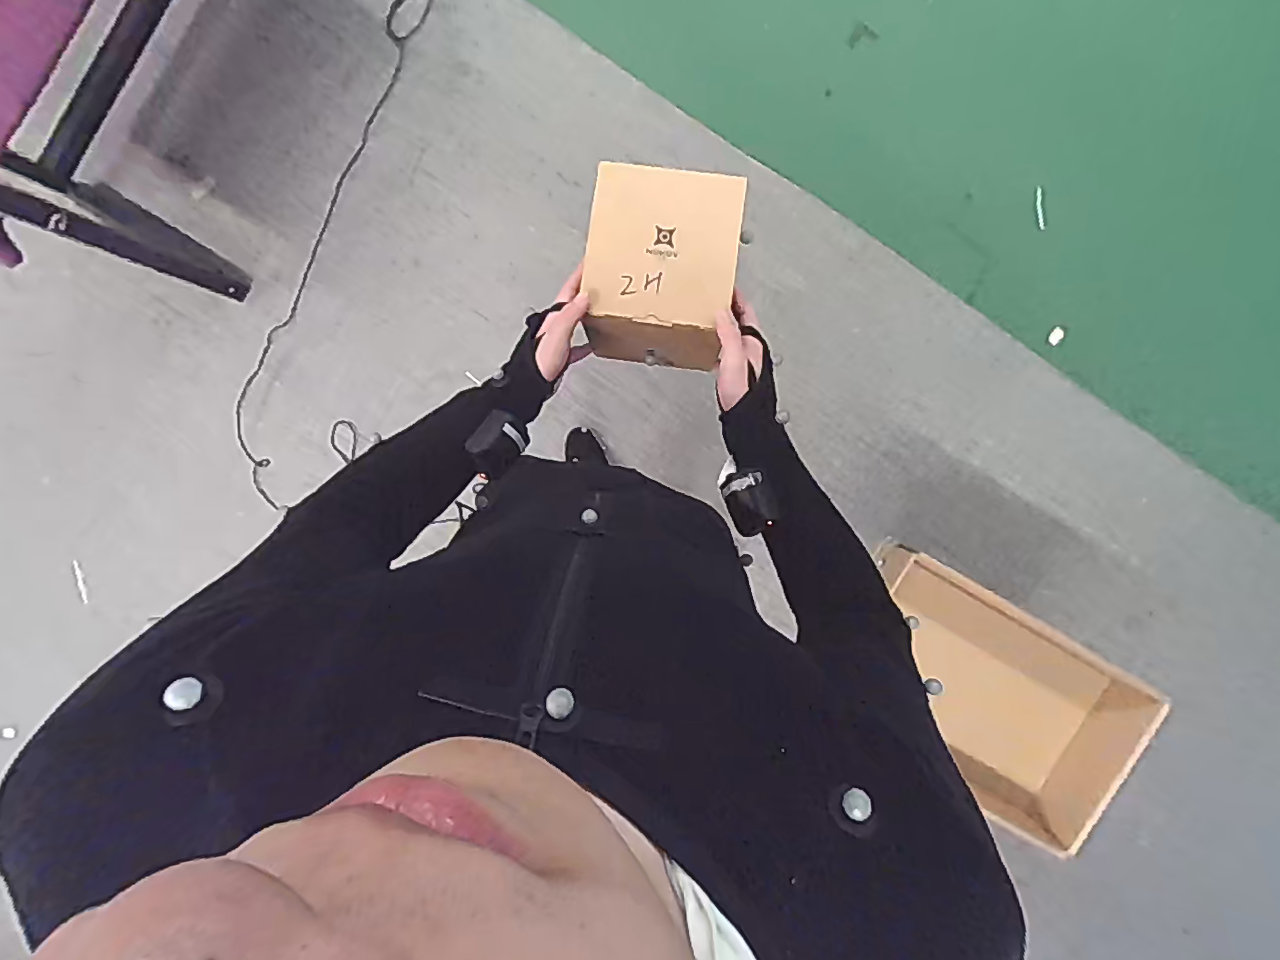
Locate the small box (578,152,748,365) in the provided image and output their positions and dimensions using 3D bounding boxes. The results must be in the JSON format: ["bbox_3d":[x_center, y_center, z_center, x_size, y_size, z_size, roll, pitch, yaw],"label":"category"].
[{"bbox_3d":[0.027,-0.255,0.659,0.168,0.176,0.179,7,87,3],"label":"small box"}]
